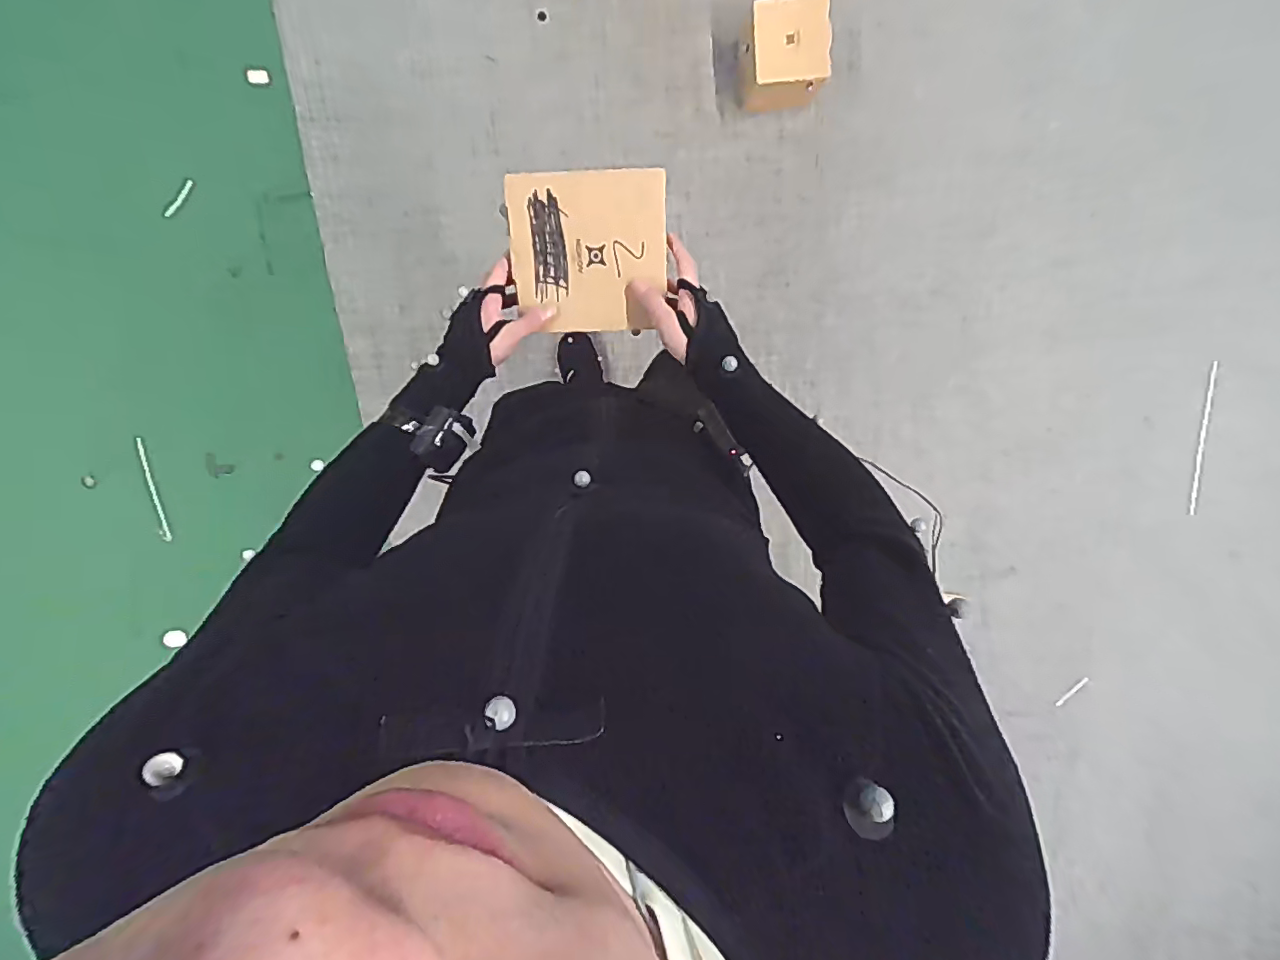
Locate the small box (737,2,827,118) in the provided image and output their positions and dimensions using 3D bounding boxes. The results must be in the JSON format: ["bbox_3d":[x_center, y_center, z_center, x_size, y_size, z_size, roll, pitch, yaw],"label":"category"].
[{"bbox_3d":[0.334,-1.000,1.302,0.179,0.176,0.168,-7,104,-1],"label":"small box"}]
